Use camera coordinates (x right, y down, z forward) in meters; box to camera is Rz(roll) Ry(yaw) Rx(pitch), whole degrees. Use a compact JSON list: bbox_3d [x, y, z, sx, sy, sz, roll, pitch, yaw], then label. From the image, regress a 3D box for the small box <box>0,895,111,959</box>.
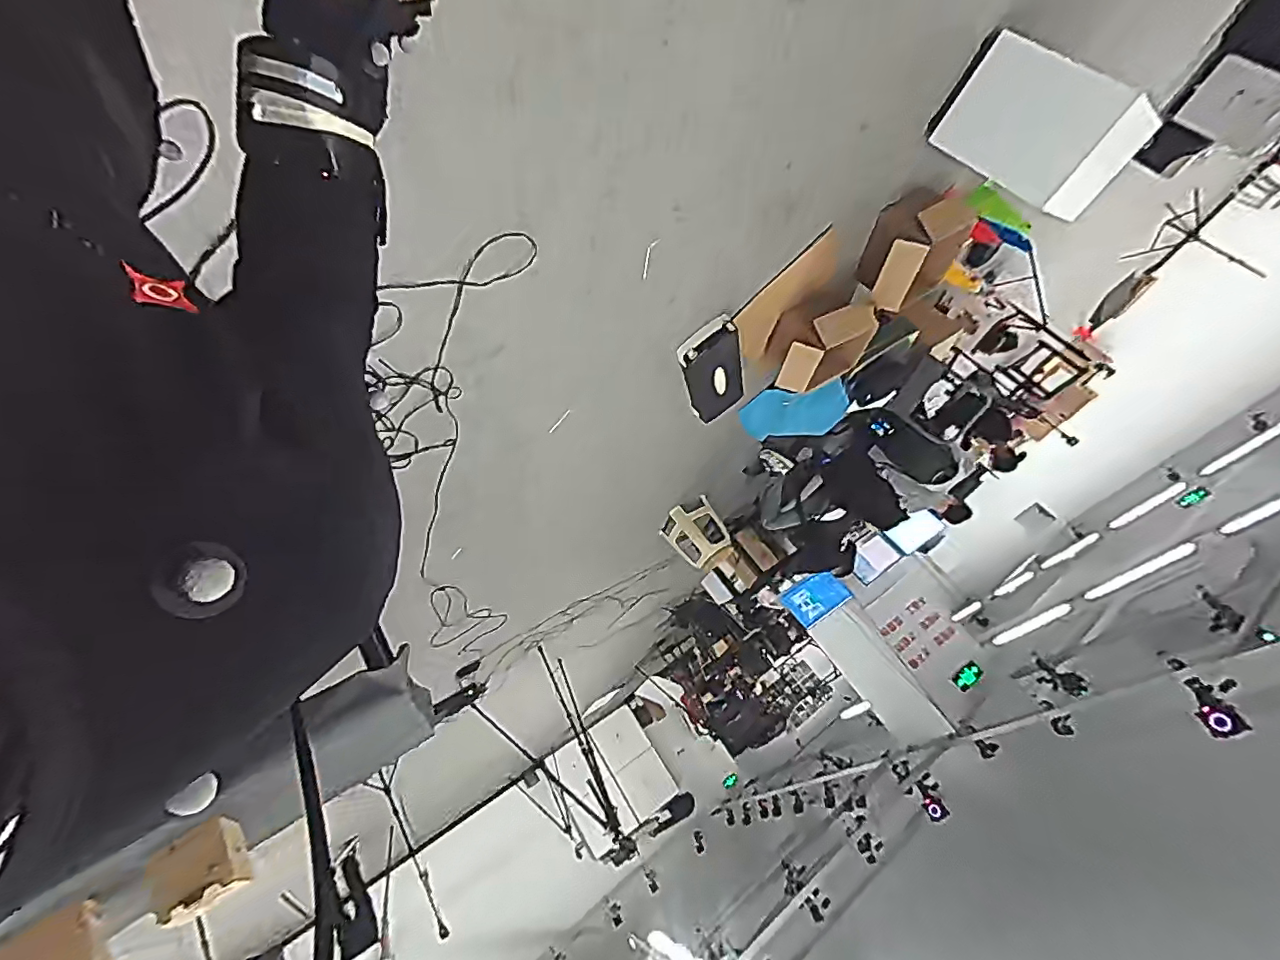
[{"bbox_3d":[-1.427,1.158,1.308,0.179,0.176,0.168,-19,152,-40],"label":"small box"}]
